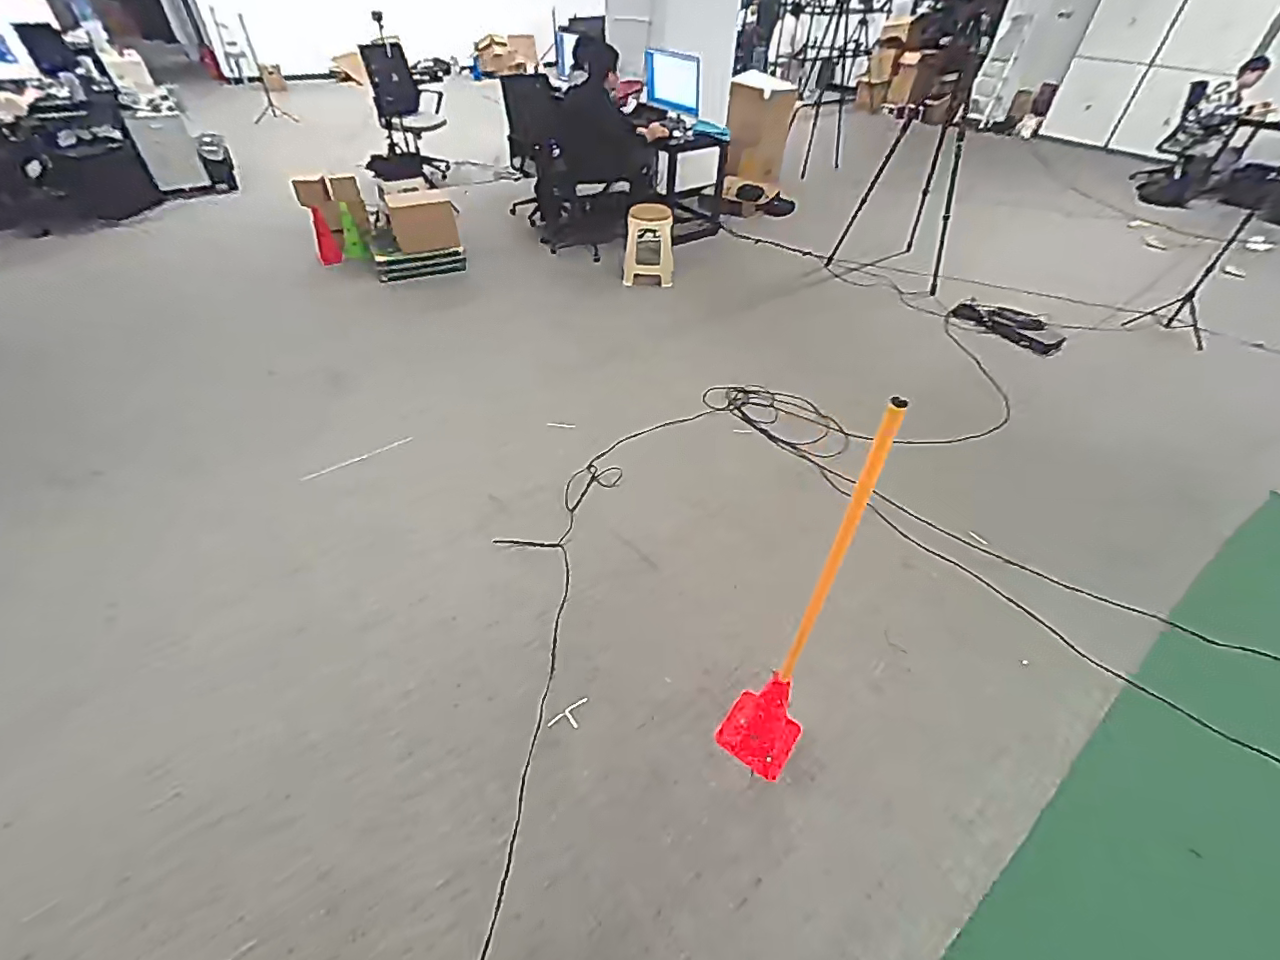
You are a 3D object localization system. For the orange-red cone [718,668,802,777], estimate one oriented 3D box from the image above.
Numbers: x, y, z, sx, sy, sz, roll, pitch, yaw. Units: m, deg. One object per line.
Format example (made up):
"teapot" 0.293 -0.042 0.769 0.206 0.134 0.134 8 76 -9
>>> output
"orange-red cone" 0.360 0.613 1.470 0.198 0.360 0.199 30 49 25
